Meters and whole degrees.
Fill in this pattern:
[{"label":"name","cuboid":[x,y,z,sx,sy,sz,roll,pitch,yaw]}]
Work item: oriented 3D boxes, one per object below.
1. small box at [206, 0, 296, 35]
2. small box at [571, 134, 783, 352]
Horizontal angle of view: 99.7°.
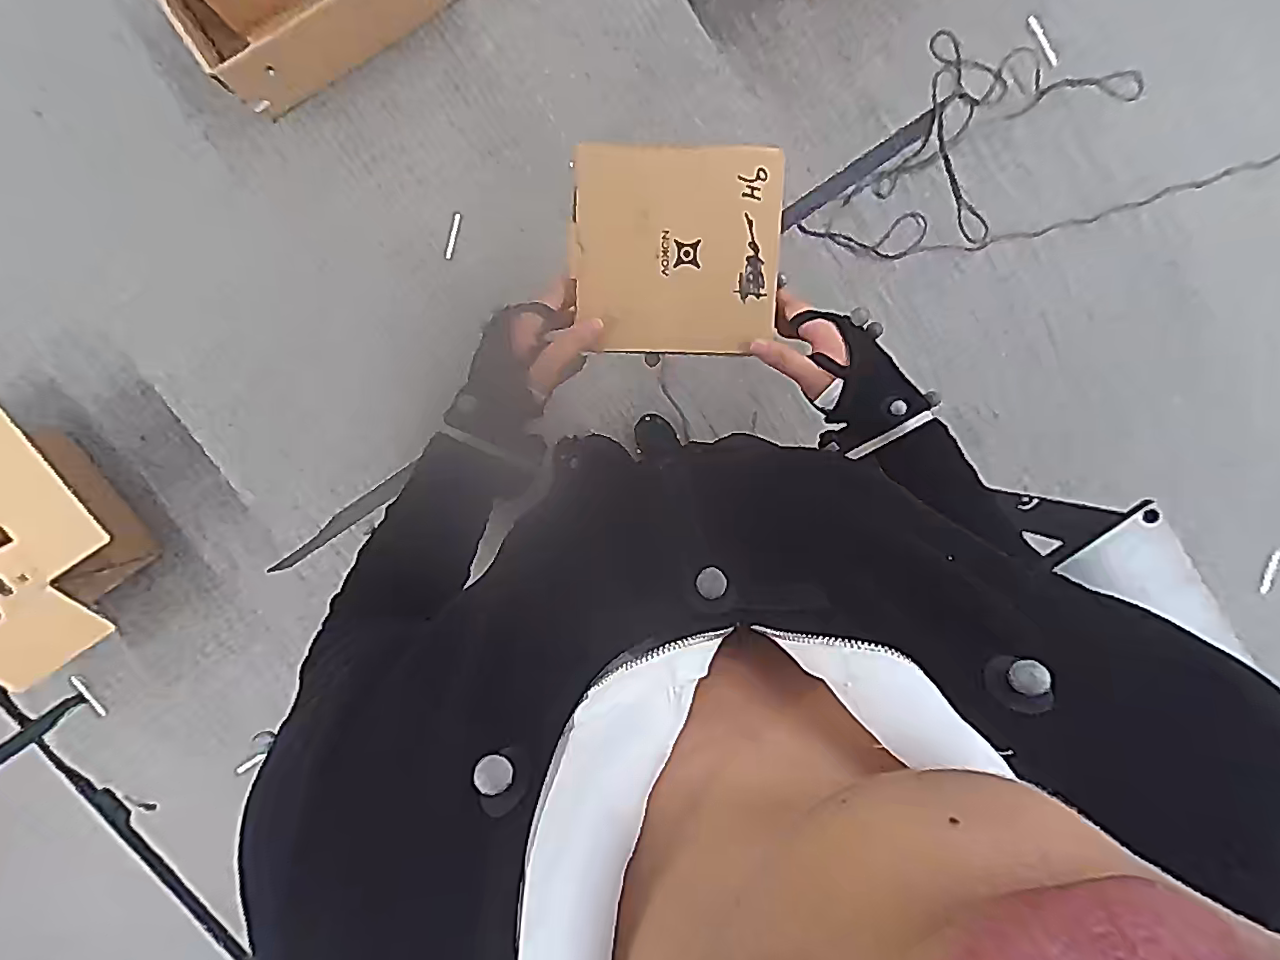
[{"label":"small box","cuboid":[-0.934,-1.175,1.226,0.179,0.176,0.168,-31,98,0]},{"label":"small box","cuboid":[0.029,-0.217,0.539,0.179,0.176,0.168,2,102,-1]}]
